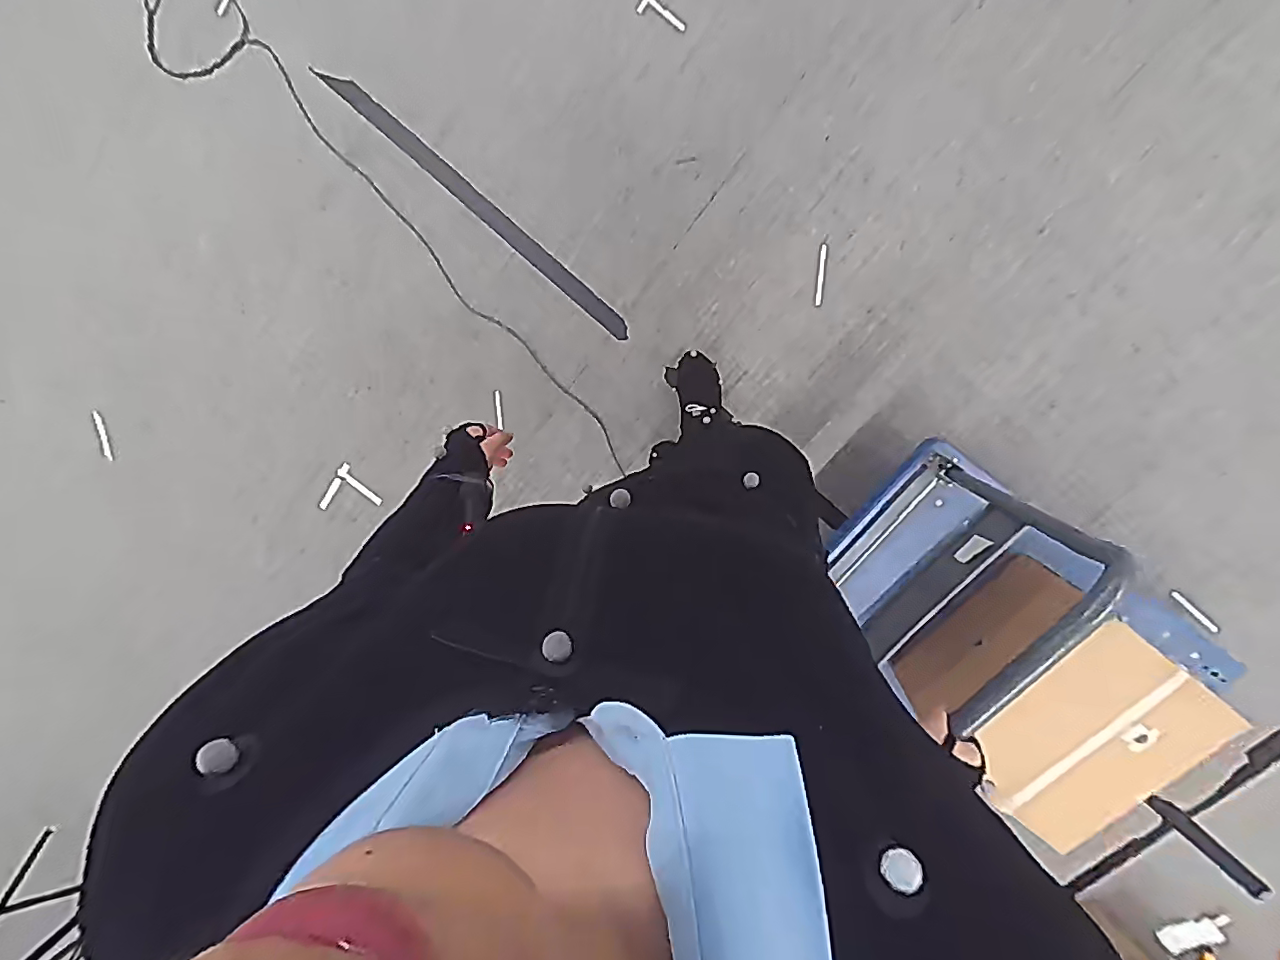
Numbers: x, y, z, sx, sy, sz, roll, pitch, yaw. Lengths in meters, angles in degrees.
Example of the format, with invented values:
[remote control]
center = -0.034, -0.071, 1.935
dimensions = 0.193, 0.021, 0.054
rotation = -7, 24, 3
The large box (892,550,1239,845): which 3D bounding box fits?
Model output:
[large box]
center = 0.816, 0.423, 1.118
dimensions = 0.320, 0.320, 0.408
rotation = 38, 105, -2
